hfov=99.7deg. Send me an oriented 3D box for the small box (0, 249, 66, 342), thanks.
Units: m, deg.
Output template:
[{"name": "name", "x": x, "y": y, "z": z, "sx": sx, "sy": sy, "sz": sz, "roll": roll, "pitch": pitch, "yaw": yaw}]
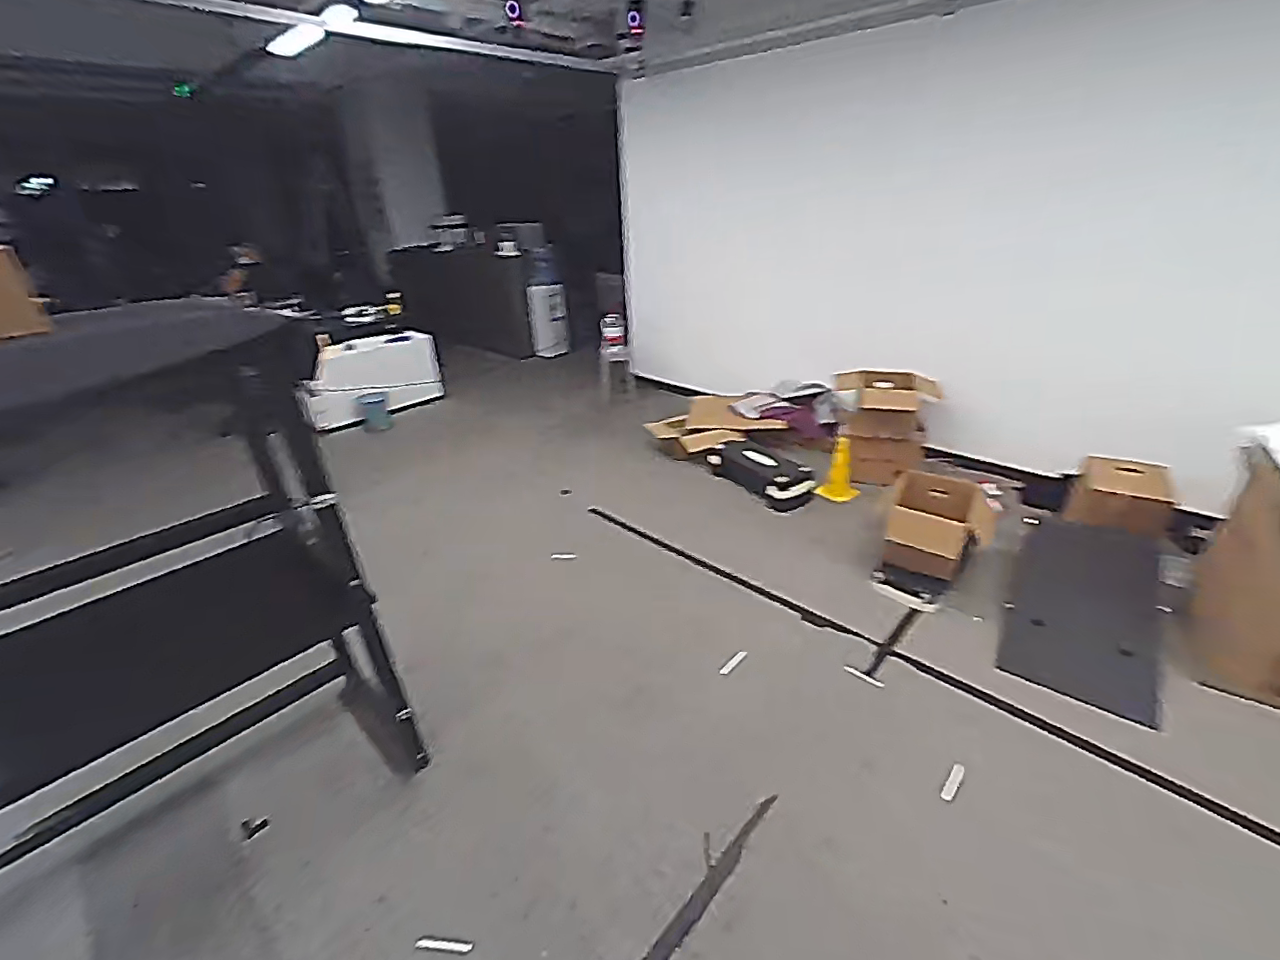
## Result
[{"name": "small box", "x": -1.374, "y": -0.385, "z": 1.138, "sx": 0.168, "sy": 0.176, "sz": 0.179, "roll": 23, "pitch": 38, "yaw": 38}]
